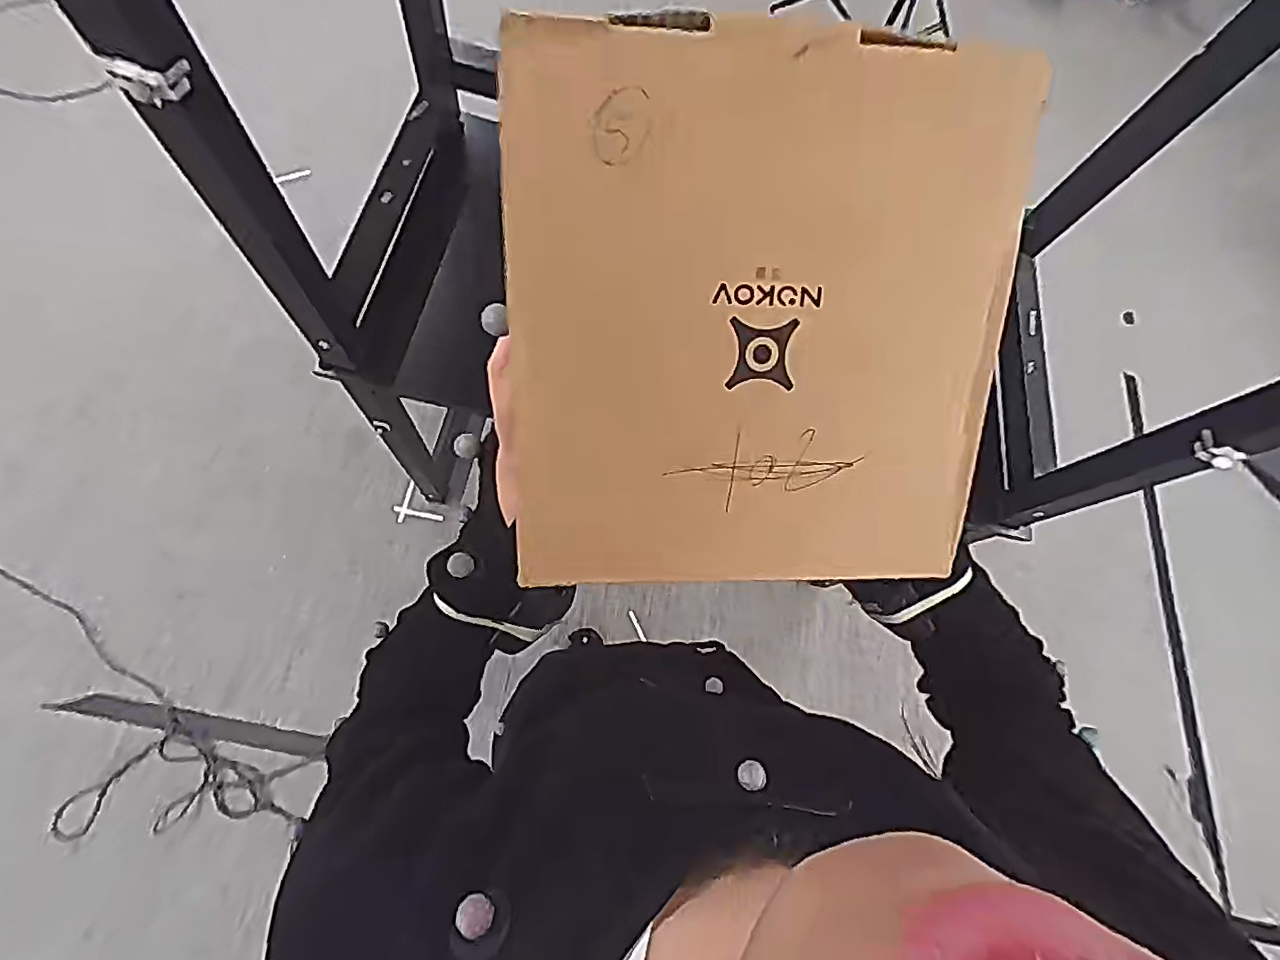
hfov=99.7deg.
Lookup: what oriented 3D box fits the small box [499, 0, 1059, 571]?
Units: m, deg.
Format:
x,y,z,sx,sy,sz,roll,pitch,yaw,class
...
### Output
x,y,z,sx,sy,sz,roll,pitch,yaw,class
0.033,-0.075,0.250,0.168,0.176,0.179,-1,108,-5,small box
